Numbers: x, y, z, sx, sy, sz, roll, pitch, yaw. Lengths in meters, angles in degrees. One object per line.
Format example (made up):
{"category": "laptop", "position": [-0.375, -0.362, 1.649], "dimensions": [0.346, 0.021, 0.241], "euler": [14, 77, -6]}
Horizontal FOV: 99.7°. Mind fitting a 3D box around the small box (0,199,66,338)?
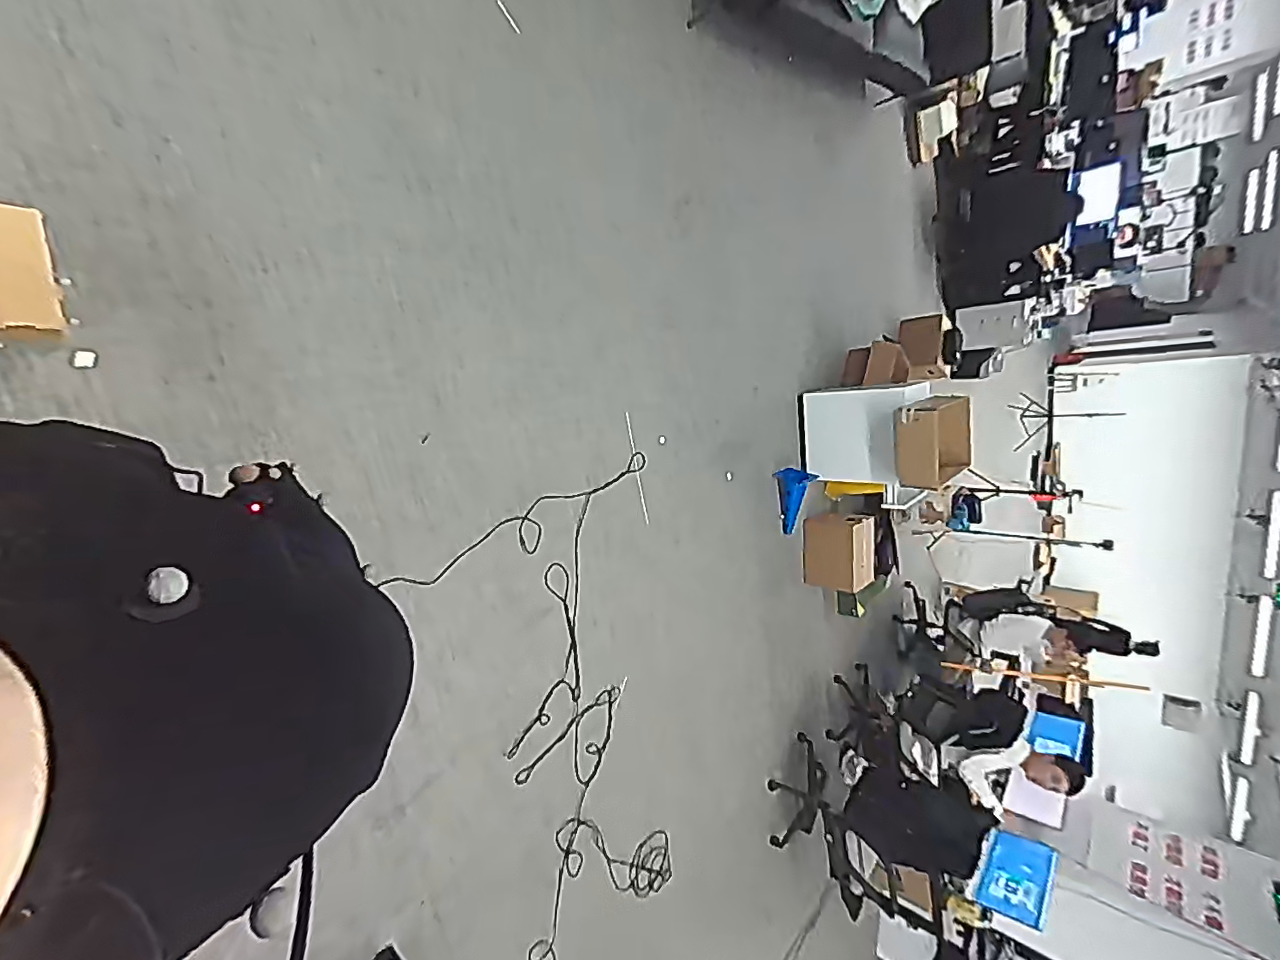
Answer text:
{"category": "small box", "position": [-0.995, -0.315, 0.808], "dimensions": [0.168, 0.176, 0.179], "euler": [-12, 102, -45]}
